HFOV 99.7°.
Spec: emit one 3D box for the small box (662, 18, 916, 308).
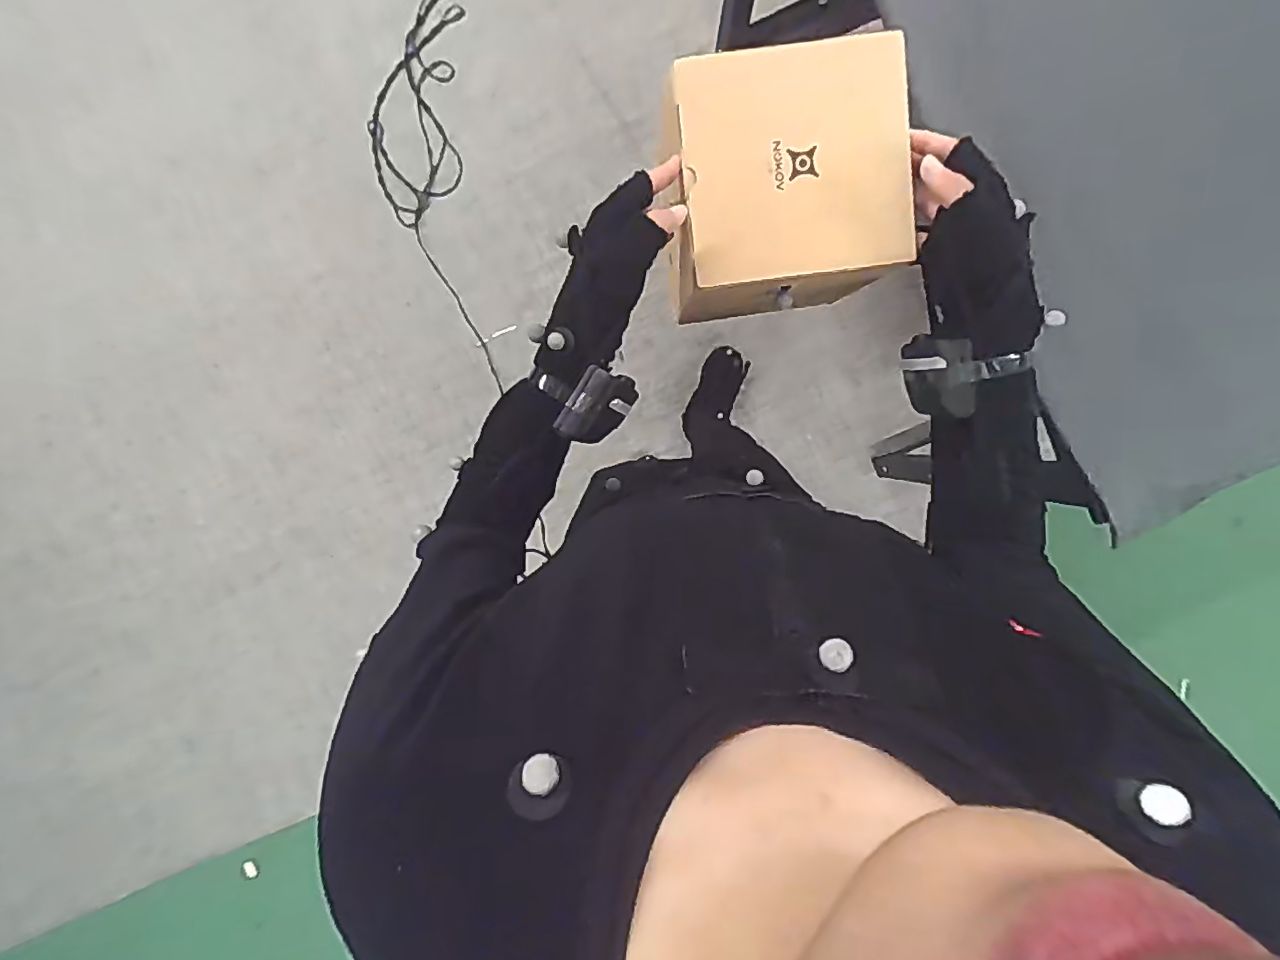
[{"bbox_3d":[0.118,-0.259,0.485,0.179,0.176,0.168,-7,98,1],"label":"small box"}]
